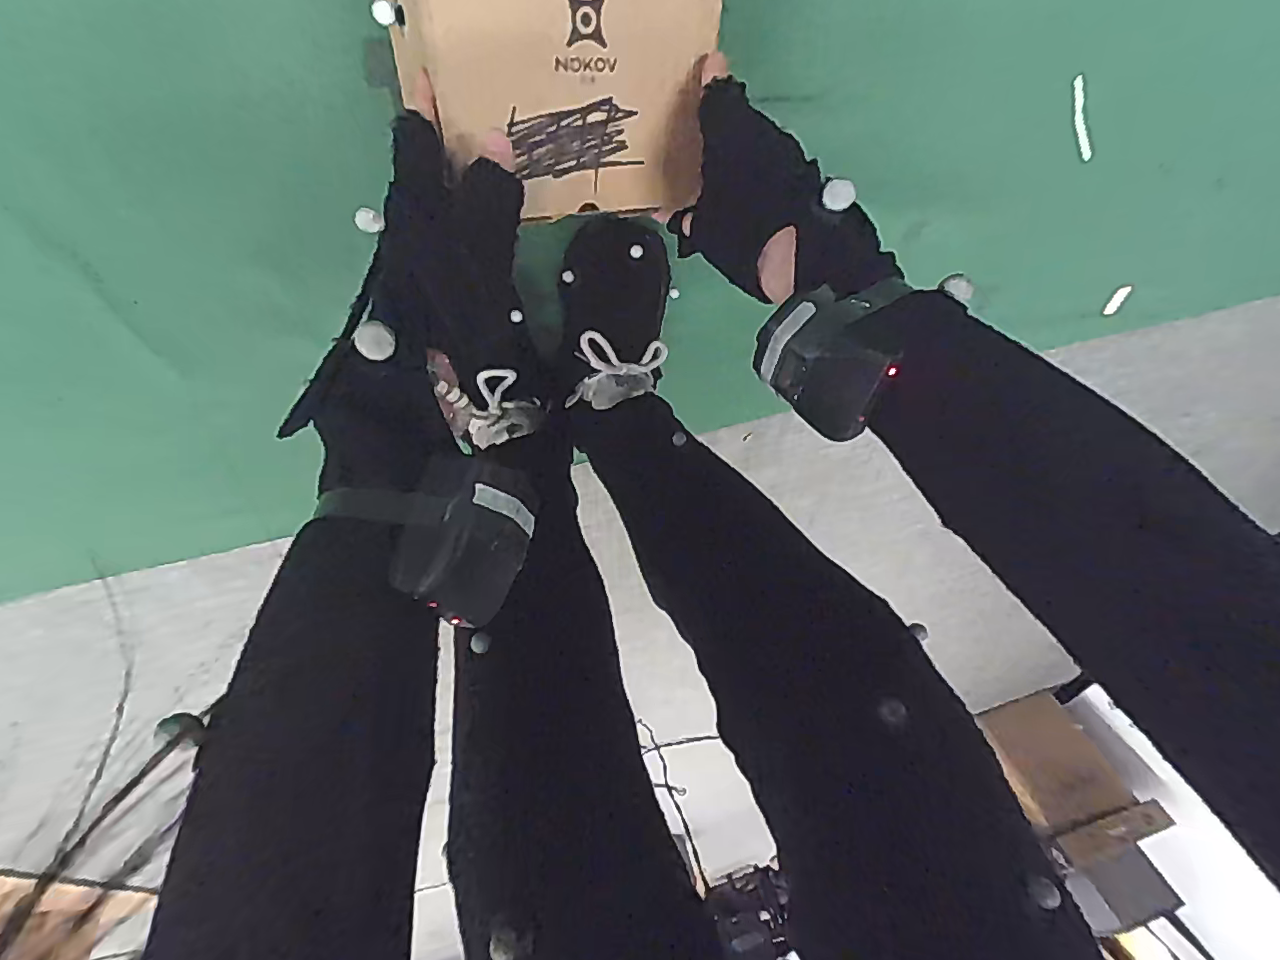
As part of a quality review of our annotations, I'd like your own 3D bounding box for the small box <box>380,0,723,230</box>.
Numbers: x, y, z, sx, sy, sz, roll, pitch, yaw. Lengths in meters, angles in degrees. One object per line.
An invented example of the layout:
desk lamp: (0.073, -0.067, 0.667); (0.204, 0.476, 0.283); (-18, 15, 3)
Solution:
small box: (-0.064, -0.276, 0.339); (0.168, 0.176, 0.179); (-15, 132, -21)
